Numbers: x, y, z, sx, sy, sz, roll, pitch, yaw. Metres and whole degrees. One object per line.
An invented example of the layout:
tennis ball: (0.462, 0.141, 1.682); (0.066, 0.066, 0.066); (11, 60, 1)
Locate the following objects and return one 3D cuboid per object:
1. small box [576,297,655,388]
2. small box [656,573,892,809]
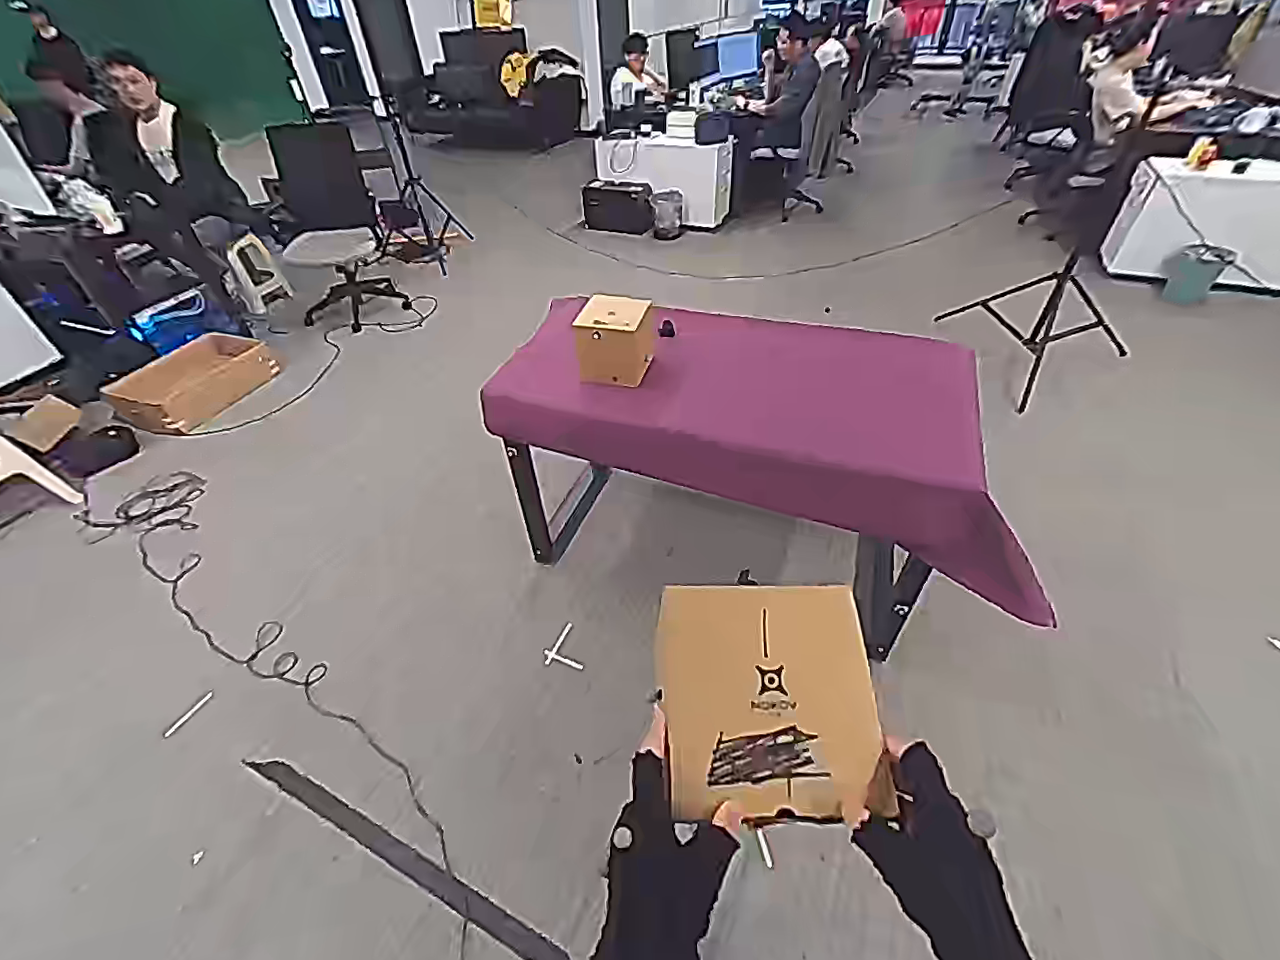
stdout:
small box: (-0.060, -0.369, 1.449); (0.168, 0.176, 0.179); (9, 43, 13)
small box: (0.102, 0.199, 0.500); (0.168, 0.176, 0.179); (1, 59, -1)
